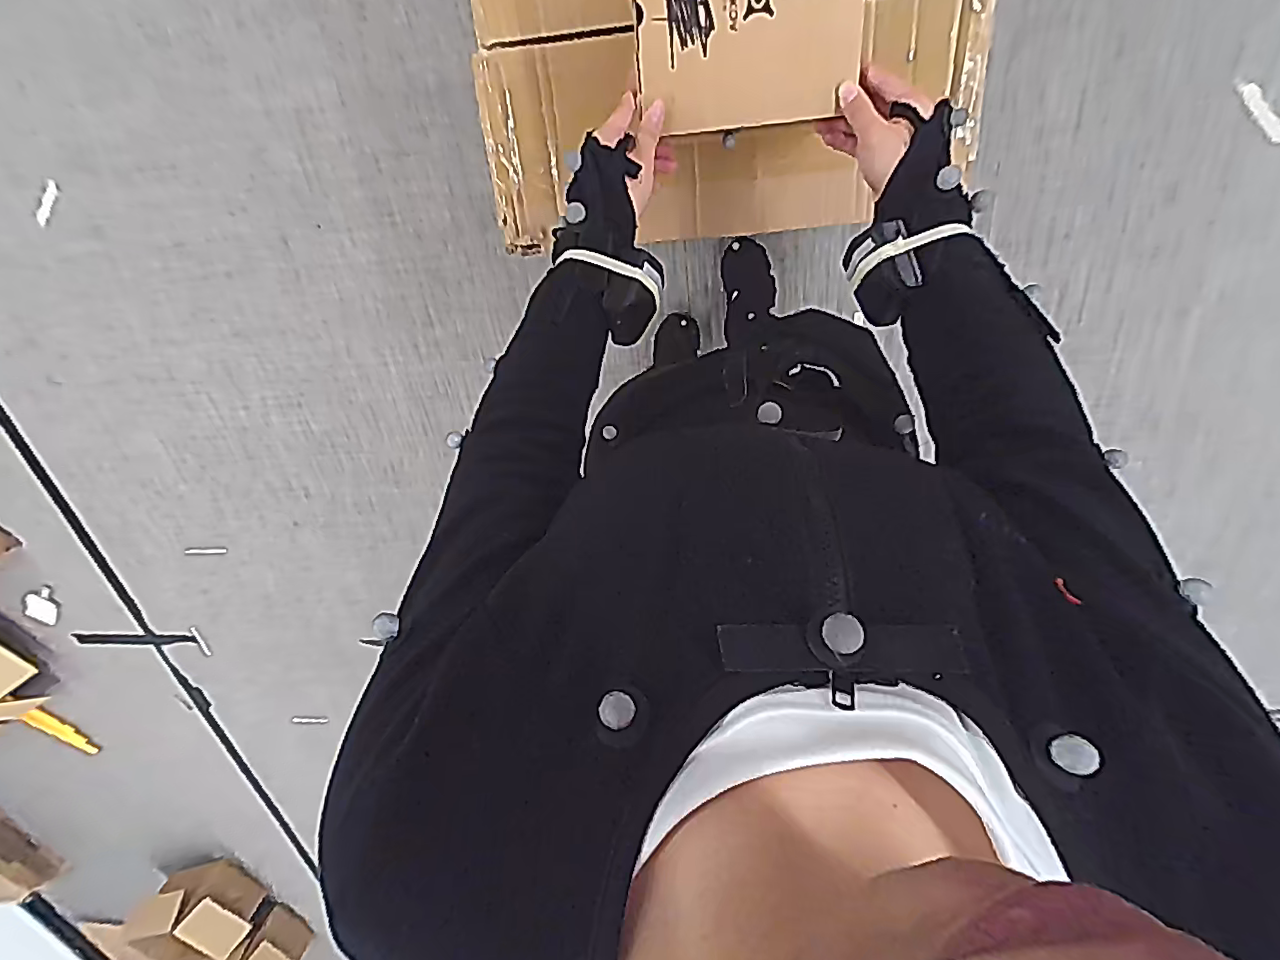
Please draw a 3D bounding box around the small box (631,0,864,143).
[{"bbox_3d":[0.088,-0.403,0.474,0.179,0.176,0.168,-2,119,7],"label":"small box"}]
